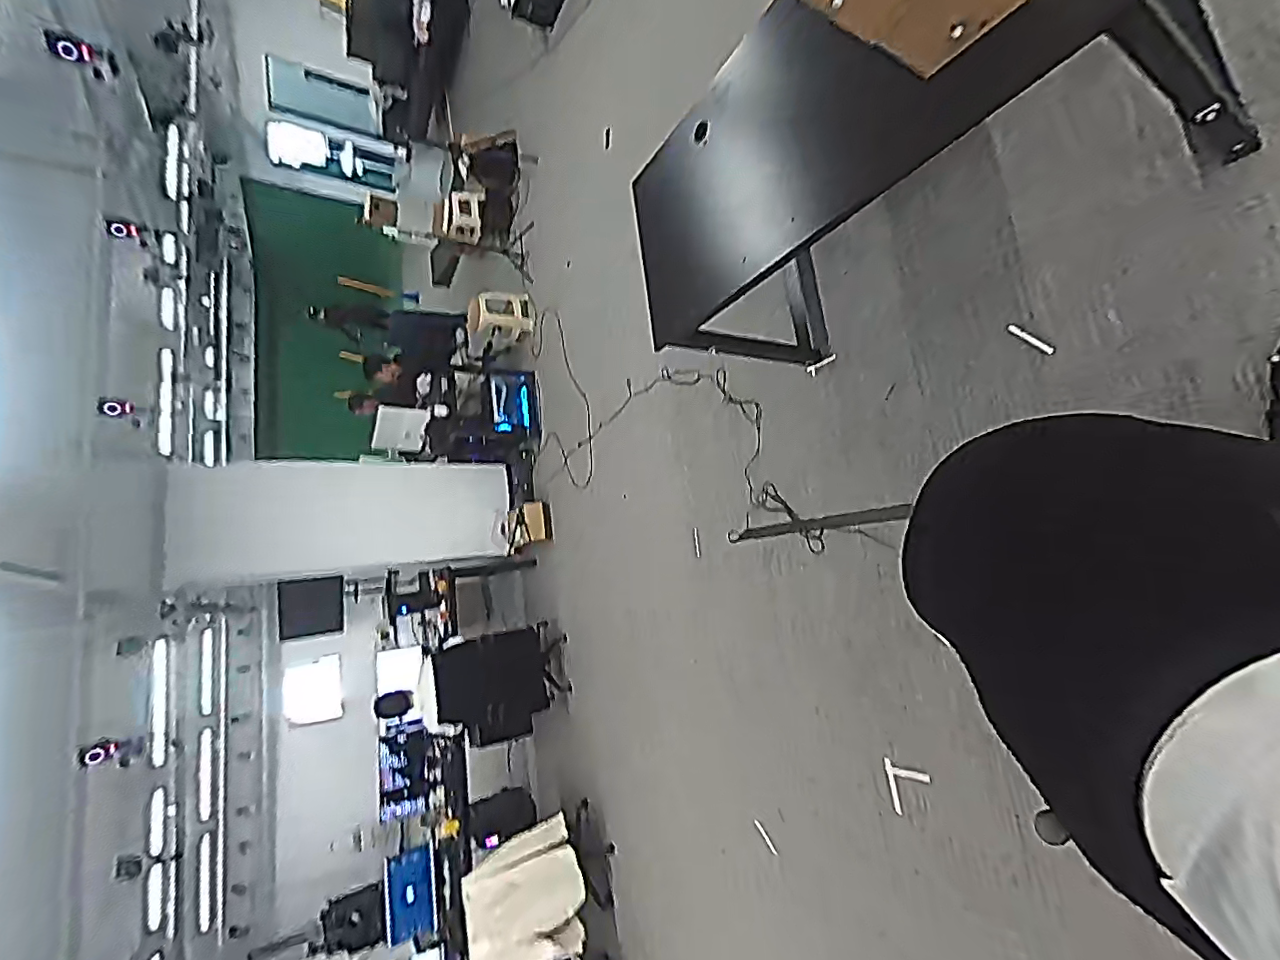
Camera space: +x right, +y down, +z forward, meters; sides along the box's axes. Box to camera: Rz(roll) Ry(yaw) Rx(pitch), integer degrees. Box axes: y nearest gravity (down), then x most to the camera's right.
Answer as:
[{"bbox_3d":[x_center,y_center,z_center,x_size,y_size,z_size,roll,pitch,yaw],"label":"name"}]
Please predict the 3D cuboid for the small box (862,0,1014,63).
[{"bbox_3d":[0.469,-0.817,0.848,0.168,0.176,0.179,-12,80,58],"label":"small box"}]
